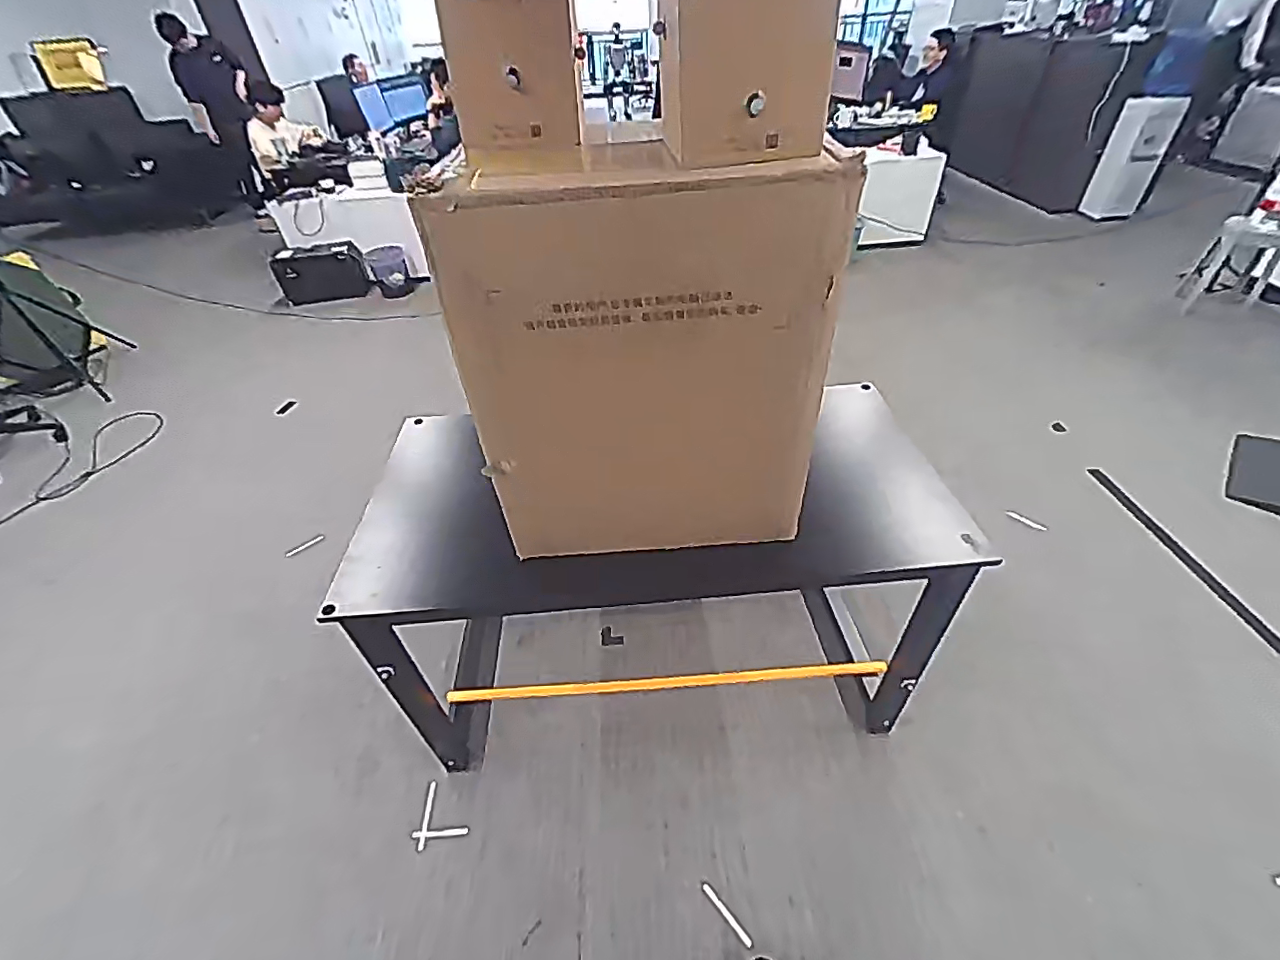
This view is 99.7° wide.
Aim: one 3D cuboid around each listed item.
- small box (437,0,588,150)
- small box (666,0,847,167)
[{"bbox_3d":[-0.163,-0.572,0.758,0.168,0.176,0.179,-3,42,-1],"label":"small box"},{"bbox_3d":[0.120,-0.481,0.632,0.168,0.176,0.179,-7,43,-1],"label":"small box"}]
